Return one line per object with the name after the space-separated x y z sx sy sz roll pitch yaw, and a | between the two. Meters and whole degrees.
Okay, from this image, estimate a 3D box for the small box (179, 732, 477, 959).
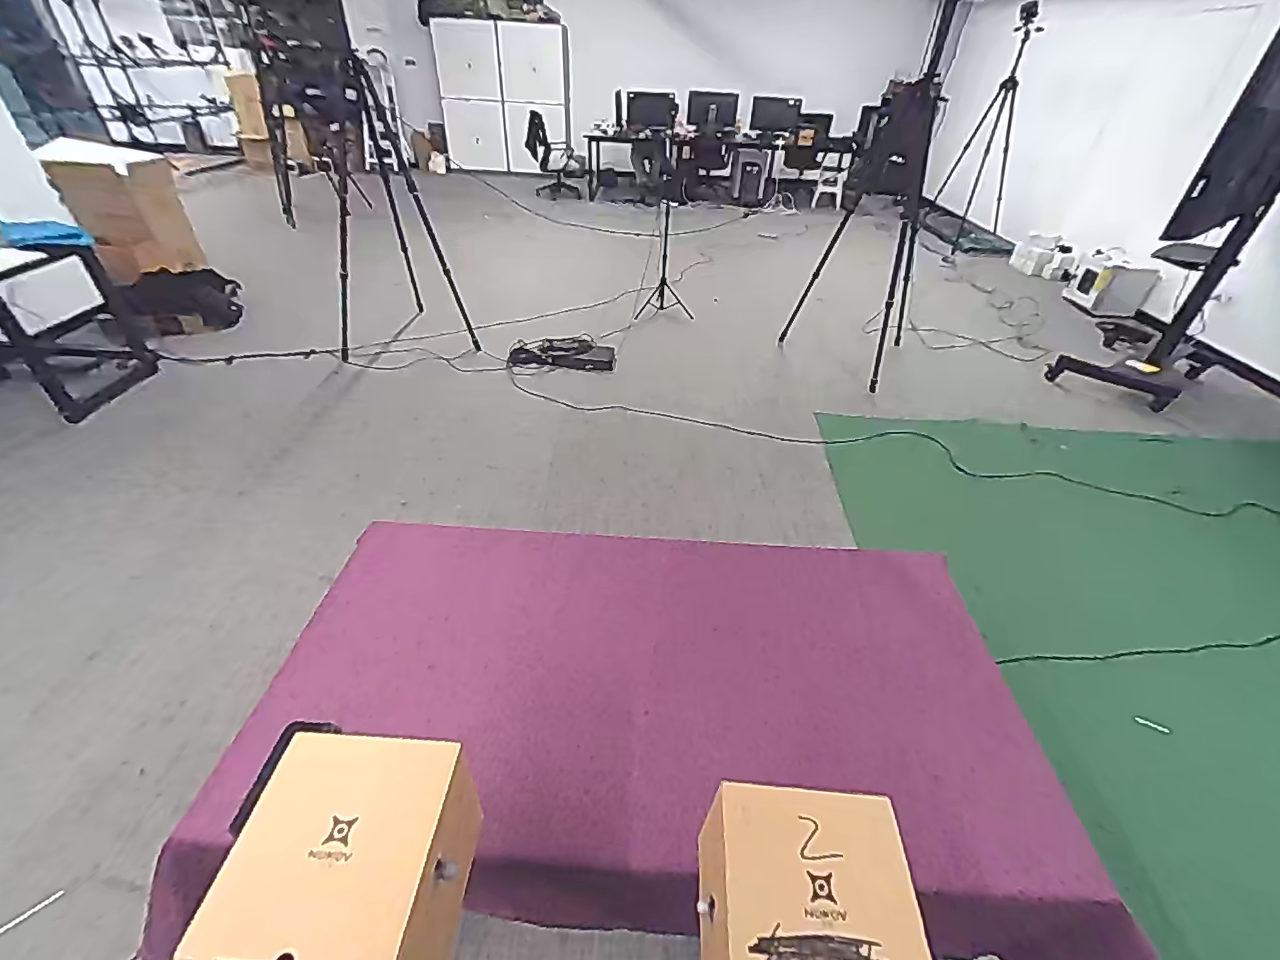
-0.262 0.371 0.512 0.168 0.176 0.179 5 39 0 | small box
